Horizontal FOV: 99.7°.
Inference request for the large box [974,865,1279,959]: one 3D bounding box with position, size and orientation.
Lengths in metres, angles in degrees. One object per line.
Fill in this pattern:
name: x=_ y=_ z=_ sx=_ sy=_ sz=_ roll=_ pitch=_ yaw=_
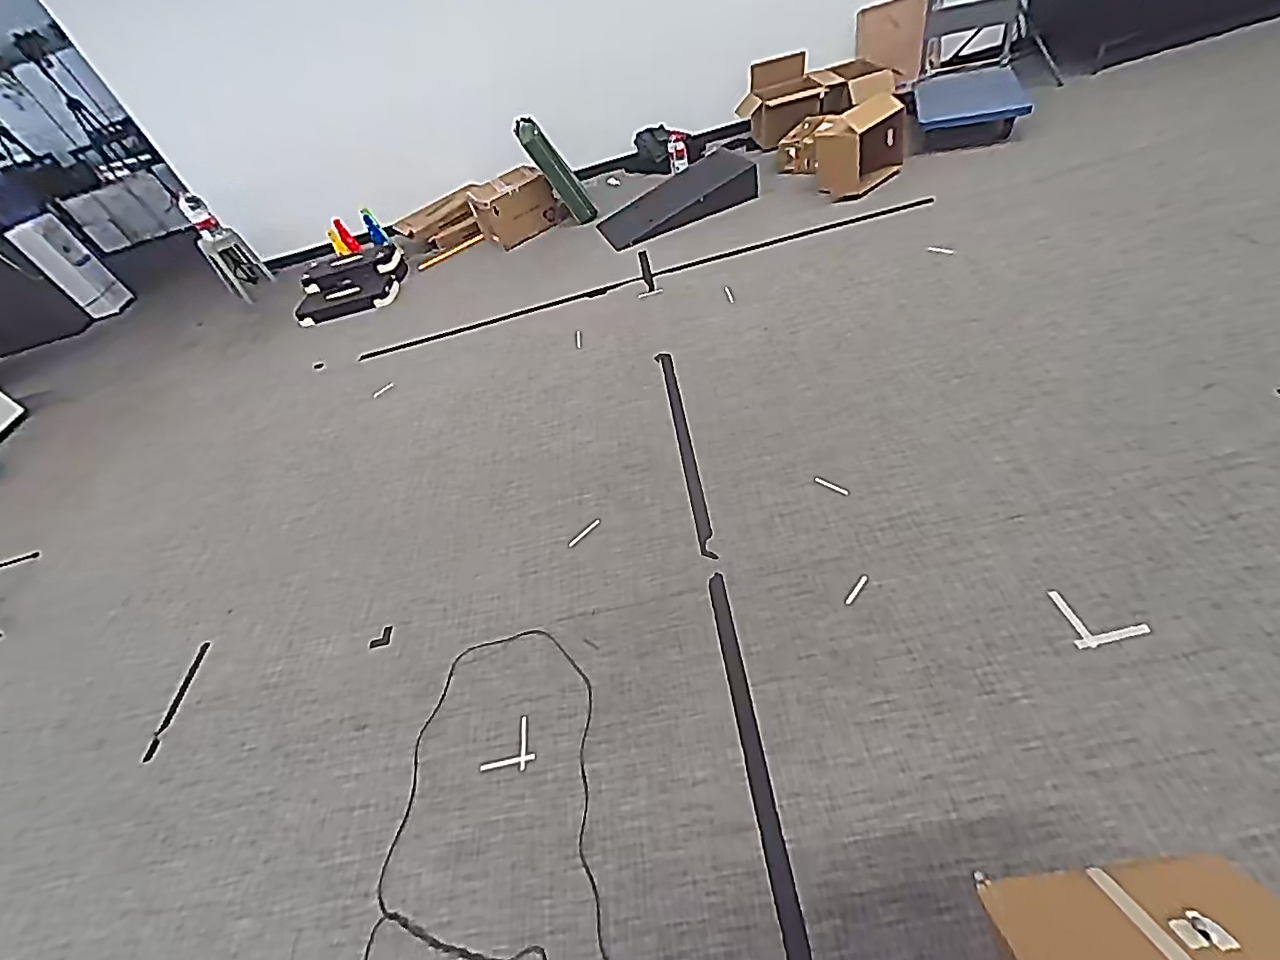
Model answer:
large box: x=0.629 y=0.688 z=0.550 sx=0.320 sy=0.408 sz=0.320 roll=-14 pitch=81 yaw=10
